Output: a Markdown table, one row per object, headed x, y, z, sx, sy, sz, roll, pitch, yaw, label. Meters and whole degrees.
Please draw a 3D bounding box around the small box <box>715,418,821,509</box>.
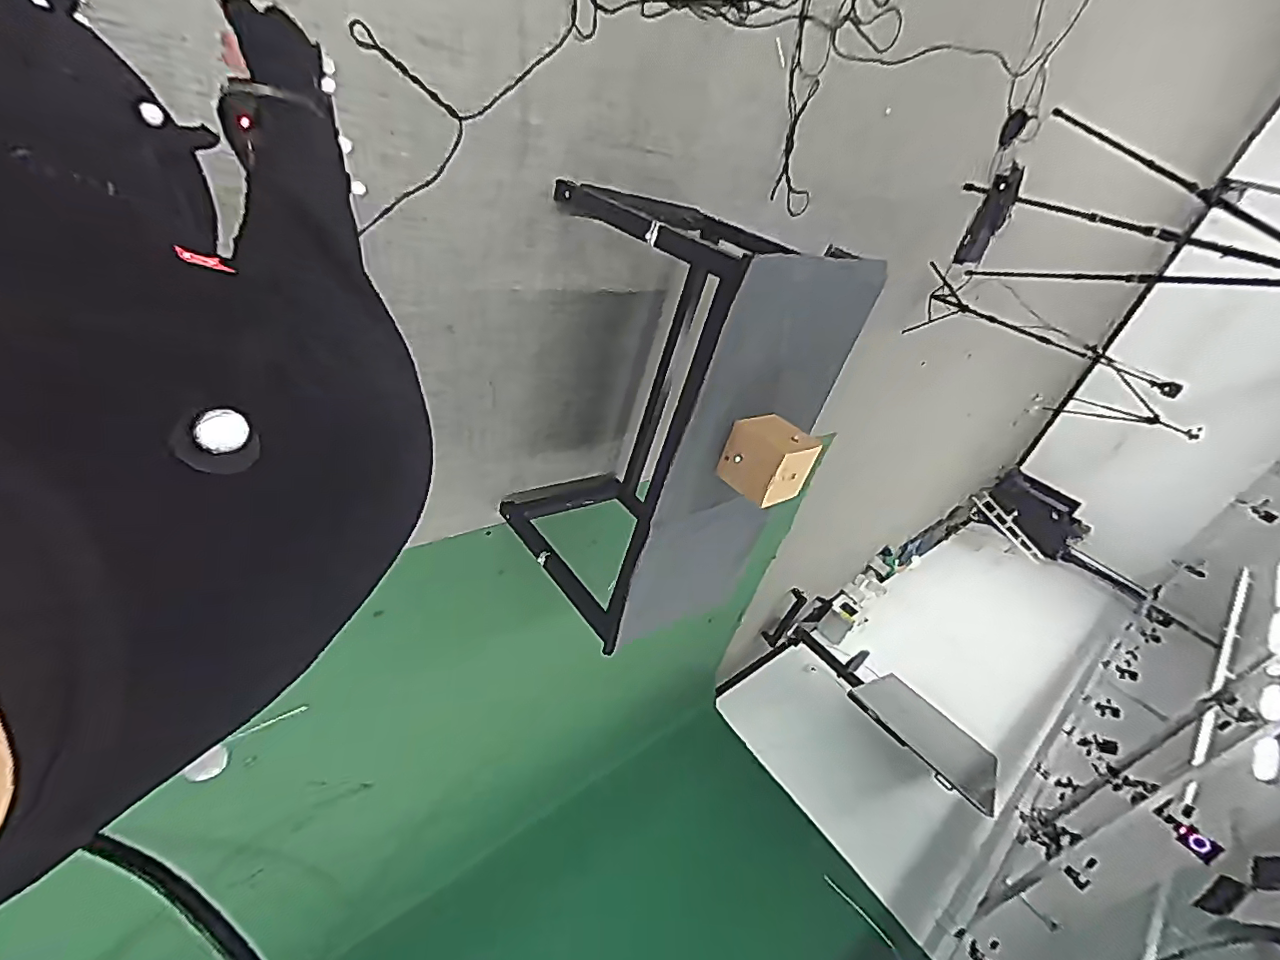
| x | y | z | sx | sy | sz | roll | pitch | yaw | label |
| --- | --- | --- | --- | --- | --- | --- | --- | --- | --- |
| 0.331 | -0.052 | 1.420 | 0.179 | 0.176 | 0.168 | -13 | 132 | -40 | small box |
